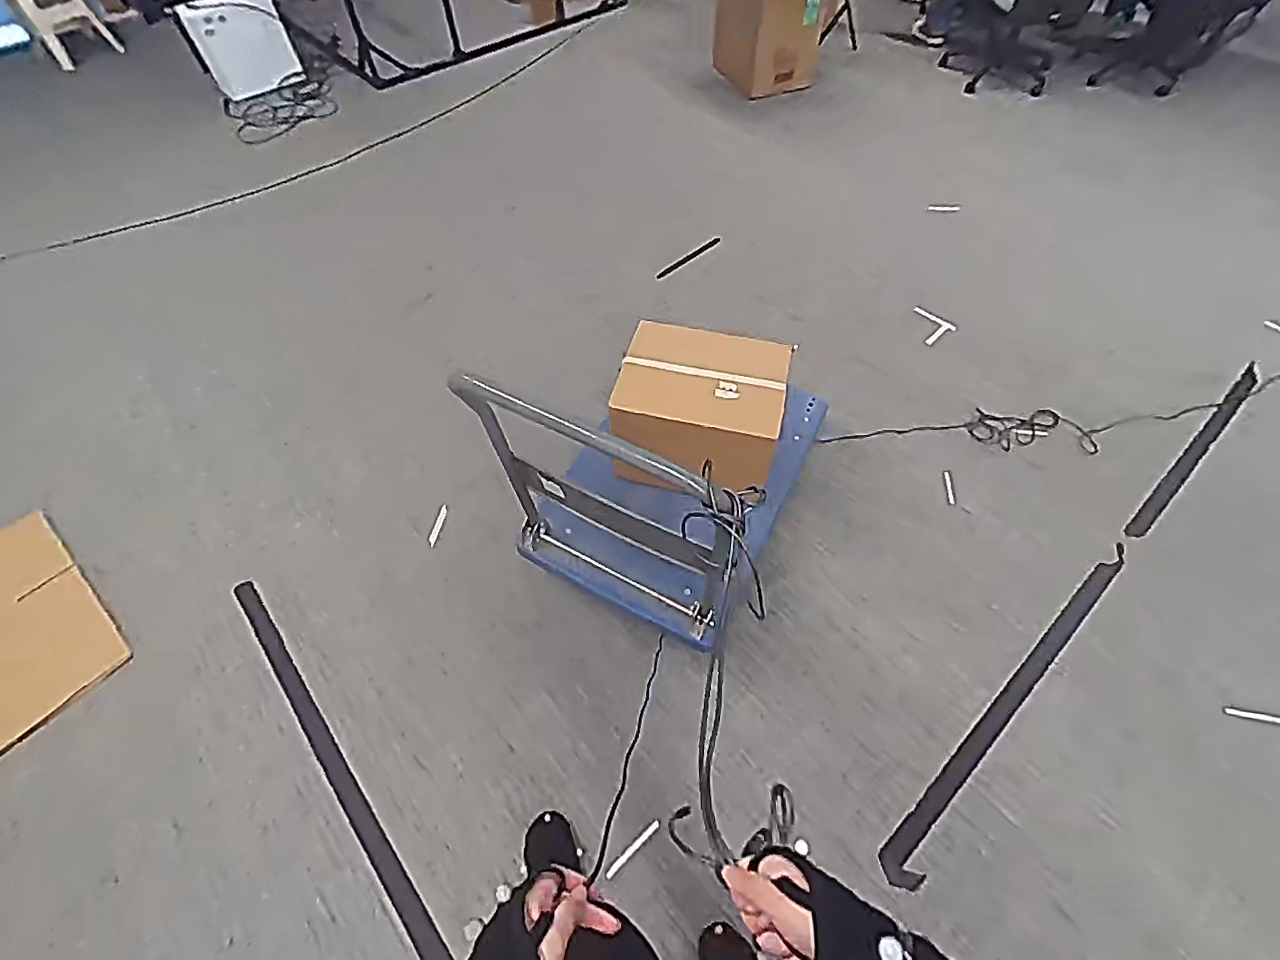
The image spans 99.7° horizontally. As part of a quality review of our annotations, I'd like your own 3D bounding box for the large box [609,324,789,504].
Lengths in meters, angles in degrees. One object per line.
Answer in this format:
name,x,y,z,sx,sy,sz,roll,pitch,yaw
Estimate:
large box,0.151,-0.172,1.444,0.408,0.320,0.320,12,58,8
